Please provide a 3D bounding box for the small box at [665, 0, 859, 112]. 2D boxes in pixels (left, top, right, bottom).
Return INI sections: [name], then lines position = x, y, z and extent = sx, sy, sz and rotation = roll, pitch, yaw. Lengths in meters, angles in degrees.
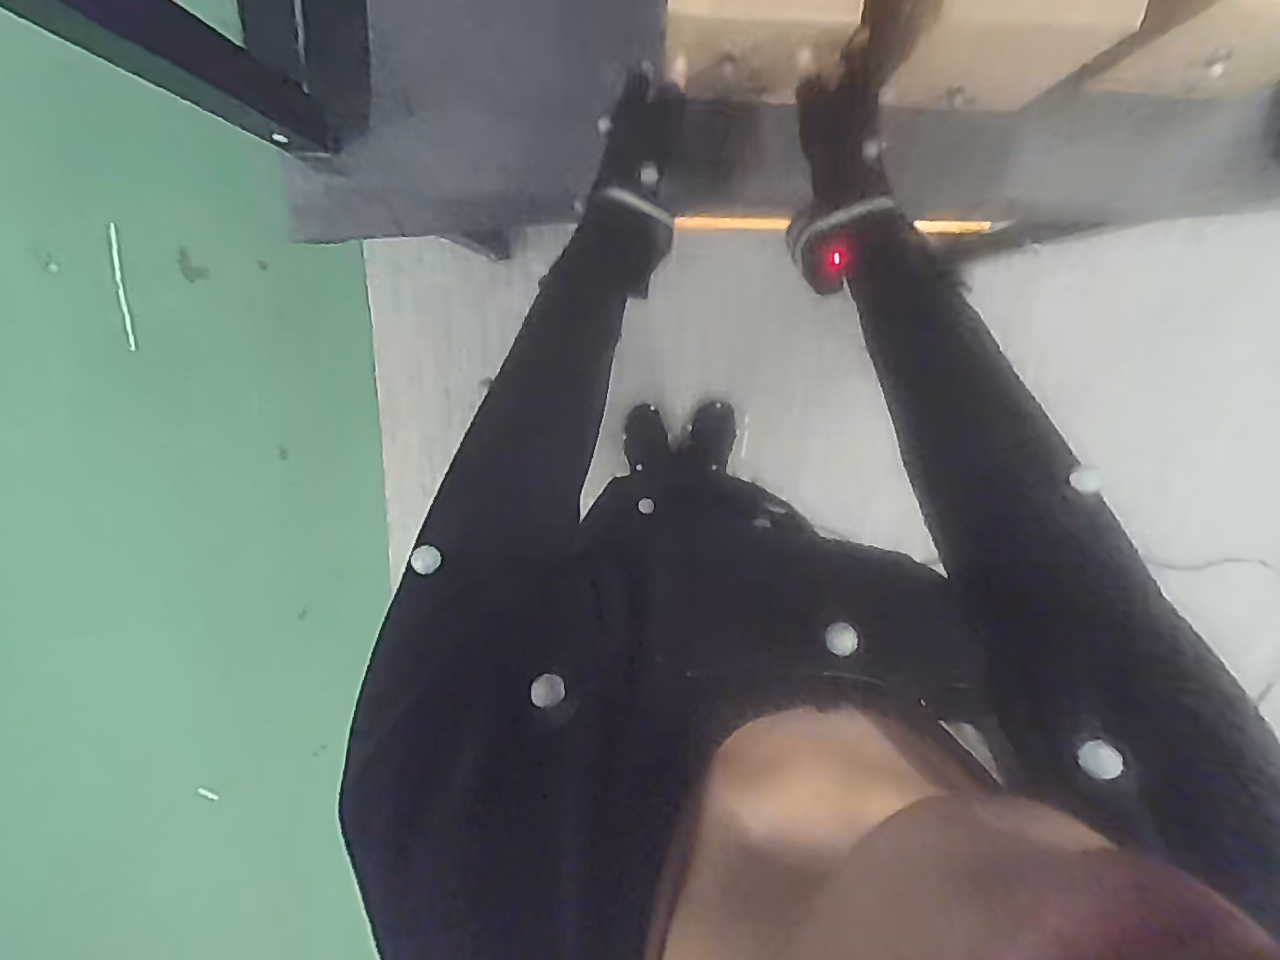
[small box]
position = 0.115, -0.488, 0.524
extent = 0.168, 0.176, 0.179
rotation = 5, 102, 2
